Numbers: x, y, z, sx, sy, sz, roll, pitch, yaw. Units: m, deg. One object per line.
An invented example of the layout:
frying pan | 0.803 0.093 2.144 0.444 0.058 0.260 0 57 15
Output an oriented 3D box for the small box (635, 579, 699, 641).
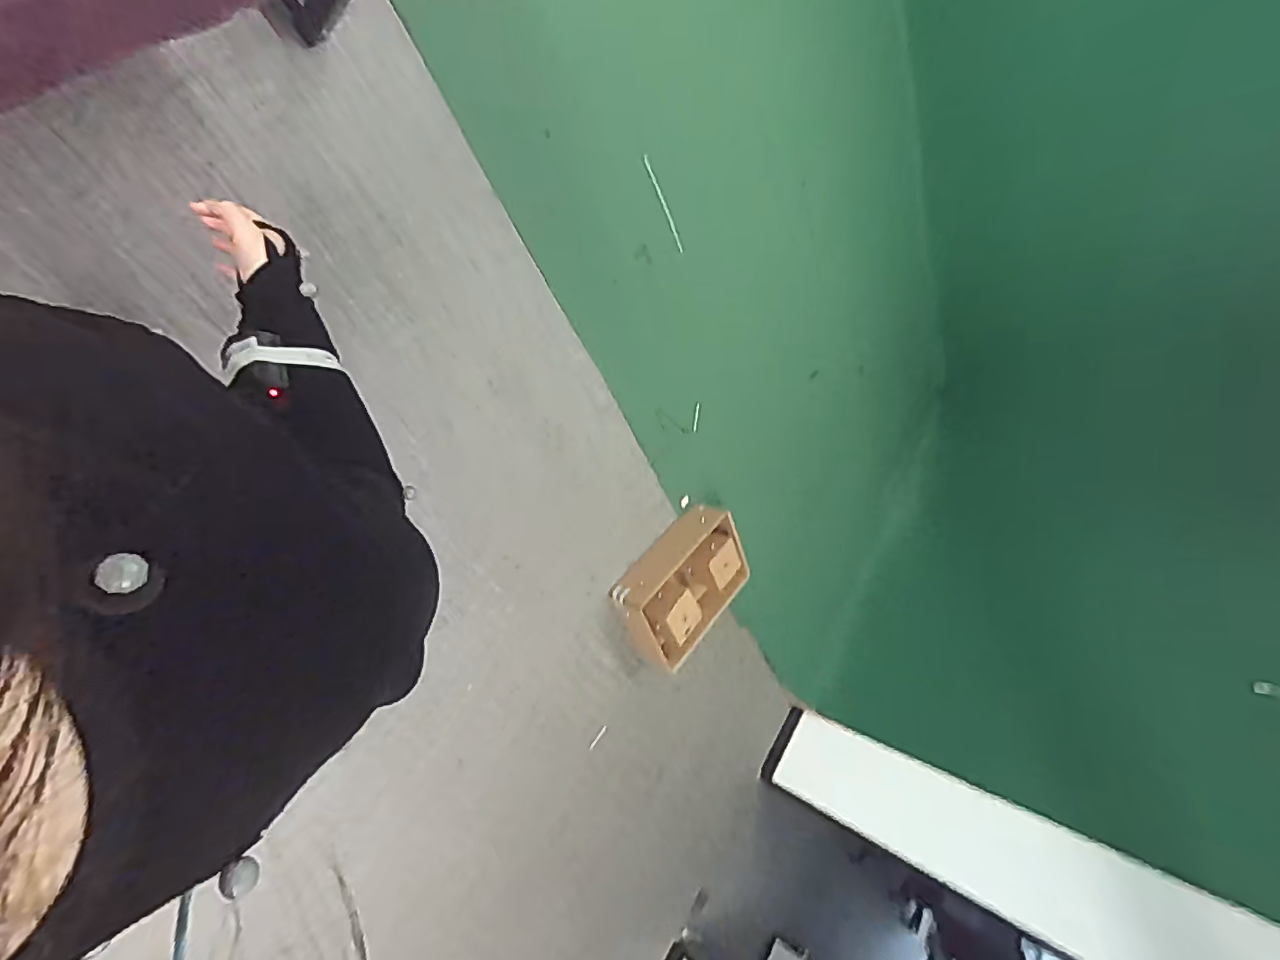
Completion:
small box | 0.110 0.525 2.222 0.168 0.176 0.179 -47 126 -29
